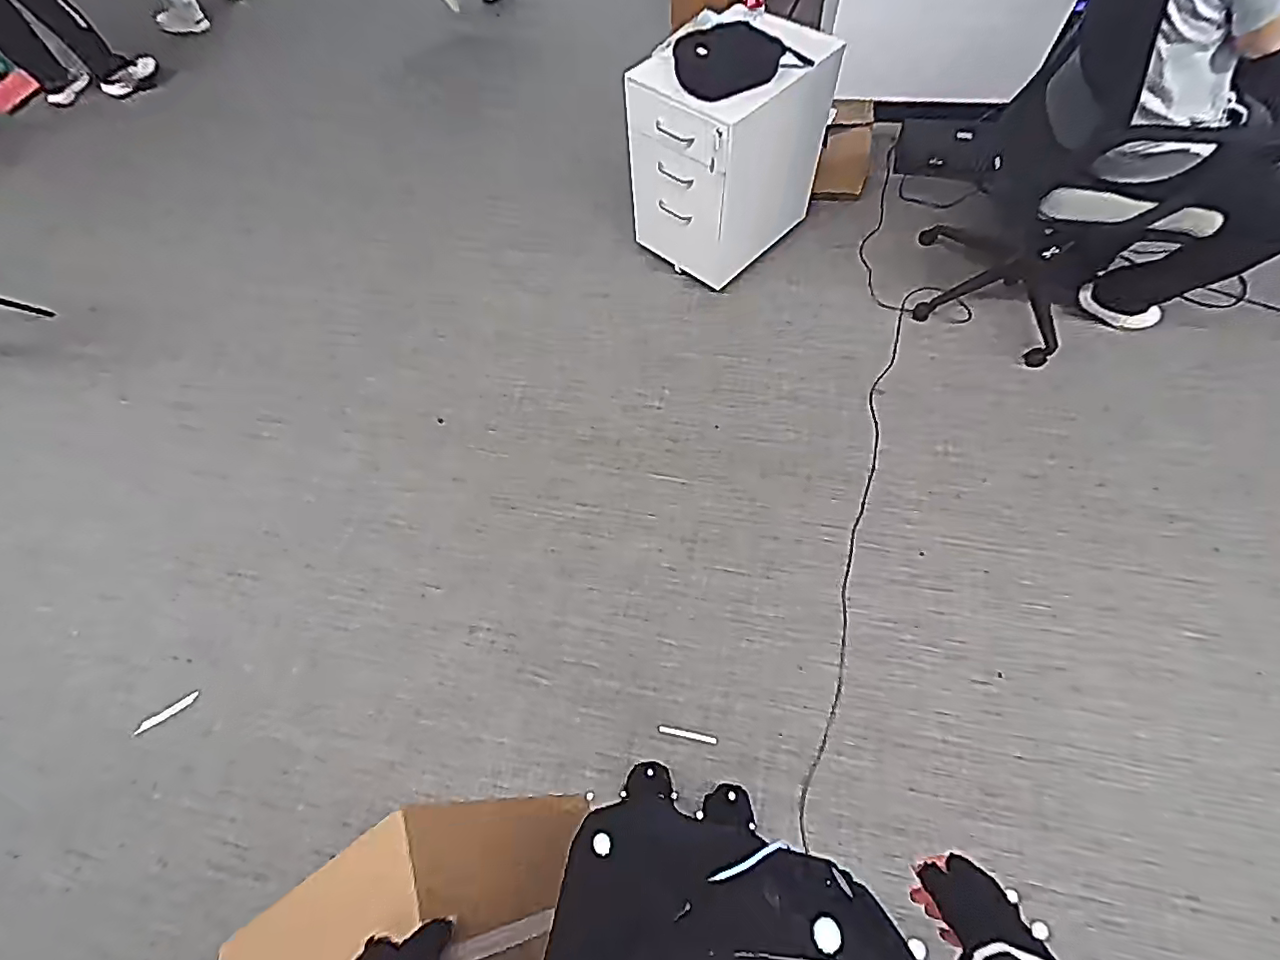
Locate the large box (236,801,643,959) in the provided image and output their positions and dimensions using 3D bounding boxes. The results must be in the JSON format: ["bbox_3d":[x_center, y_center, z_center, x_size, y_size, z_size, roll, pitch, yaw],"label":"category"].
[{"bbox_3d":[-0.237,0.673,0.721,0.320,0.408,0.320,-35,53,7],"label":"large box"}]
